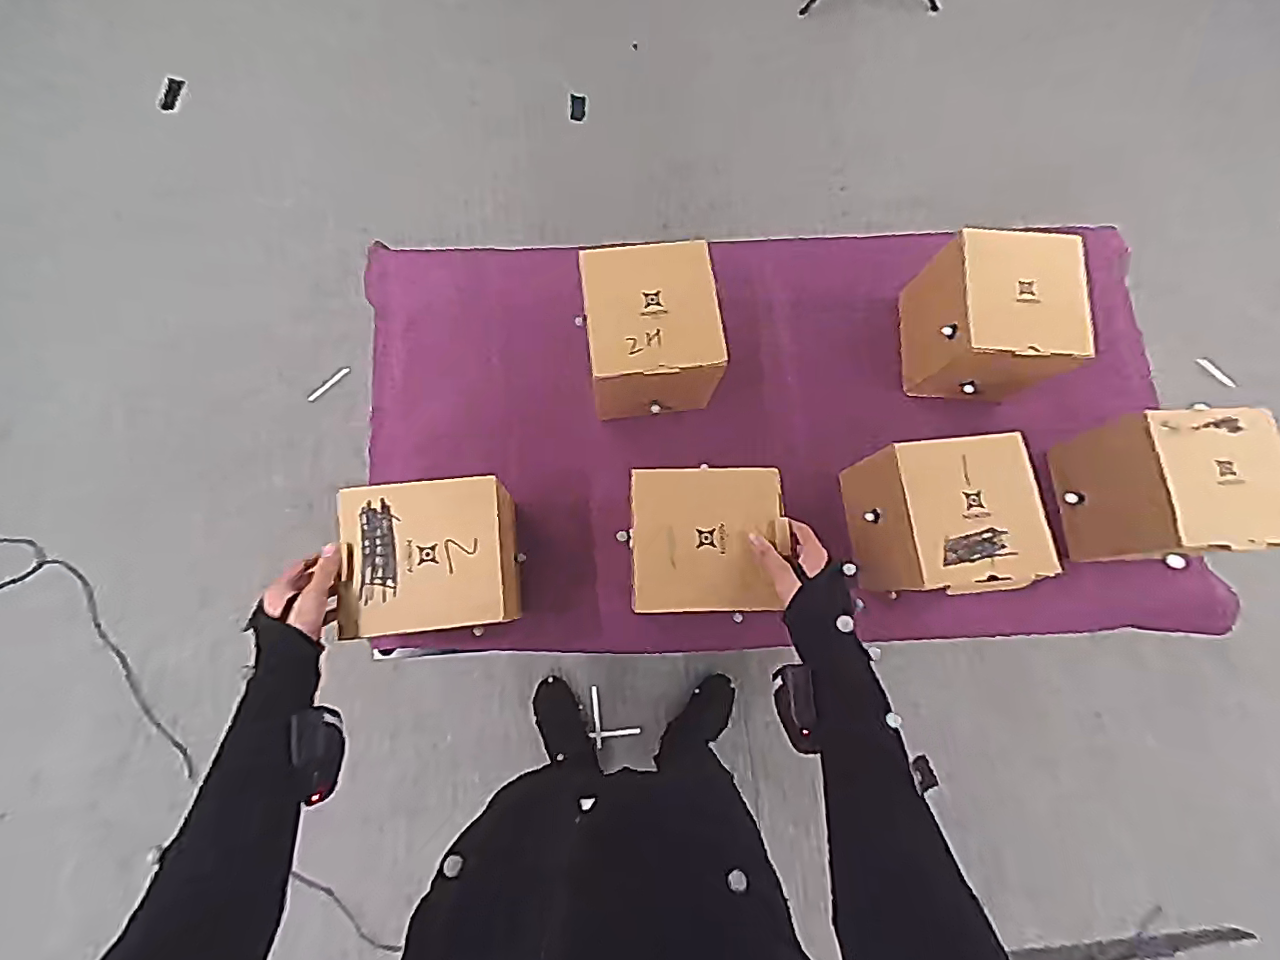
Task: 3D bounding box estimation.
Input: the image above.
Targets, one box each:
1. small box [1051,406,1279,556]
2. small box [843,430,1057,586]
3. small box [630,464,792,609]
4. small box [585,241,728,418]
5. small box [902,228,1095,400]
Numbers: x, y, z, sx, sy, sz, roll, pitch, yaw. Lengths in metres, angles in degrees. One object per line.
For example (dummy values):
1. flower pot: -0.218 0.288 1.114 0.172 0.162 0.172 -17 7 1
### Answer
1. small box: 0.710 0.011 0.733 0.168 0.176 0.179 -1 76 -2
2. small box: 0.390 0.047 0.714 0.168 0.176 0.179 -5 77 -3
3. small box: 0.079 0.079 0.695 0.179 0.176 0.168 0 77 -3
4. small box: 0.015 -0.201 0.756 0.168 0.176 0.179 -7 78 -4
5. small box: 0.501 -0.231 0.783 0.168 0.176 0.179 3 79 -1
